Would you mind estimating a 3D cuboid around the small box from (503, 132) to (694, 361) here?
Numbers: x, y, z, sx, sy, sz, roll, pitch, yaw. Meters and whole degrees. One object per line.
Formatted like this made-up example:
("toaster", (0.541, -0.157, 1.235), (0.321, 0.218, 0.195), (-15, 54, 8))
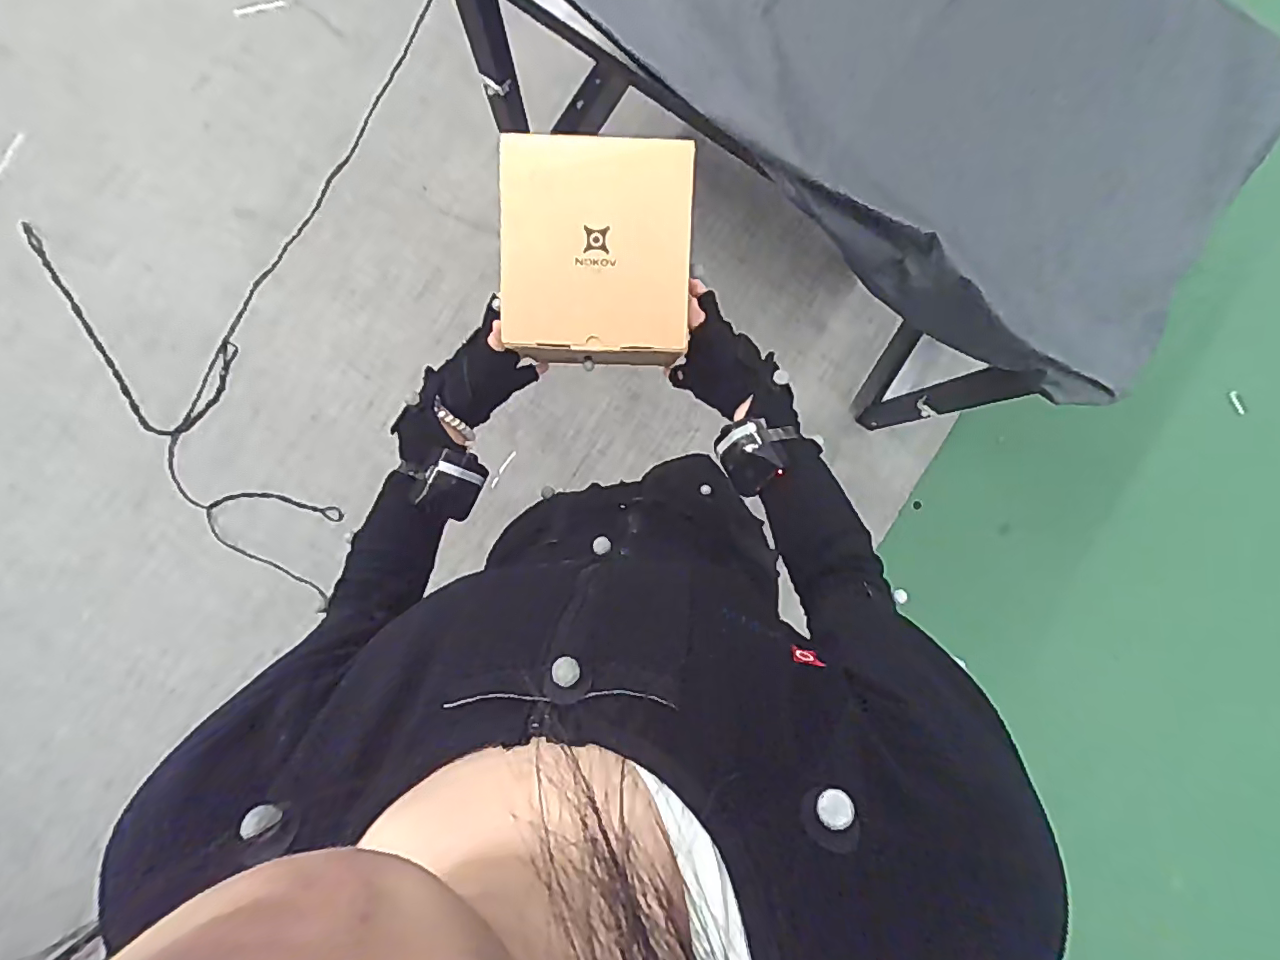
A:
("small box", (-0.042, -0.220, 0.555), (0.168, 0.176, 0.179), (2, 100, -2))
